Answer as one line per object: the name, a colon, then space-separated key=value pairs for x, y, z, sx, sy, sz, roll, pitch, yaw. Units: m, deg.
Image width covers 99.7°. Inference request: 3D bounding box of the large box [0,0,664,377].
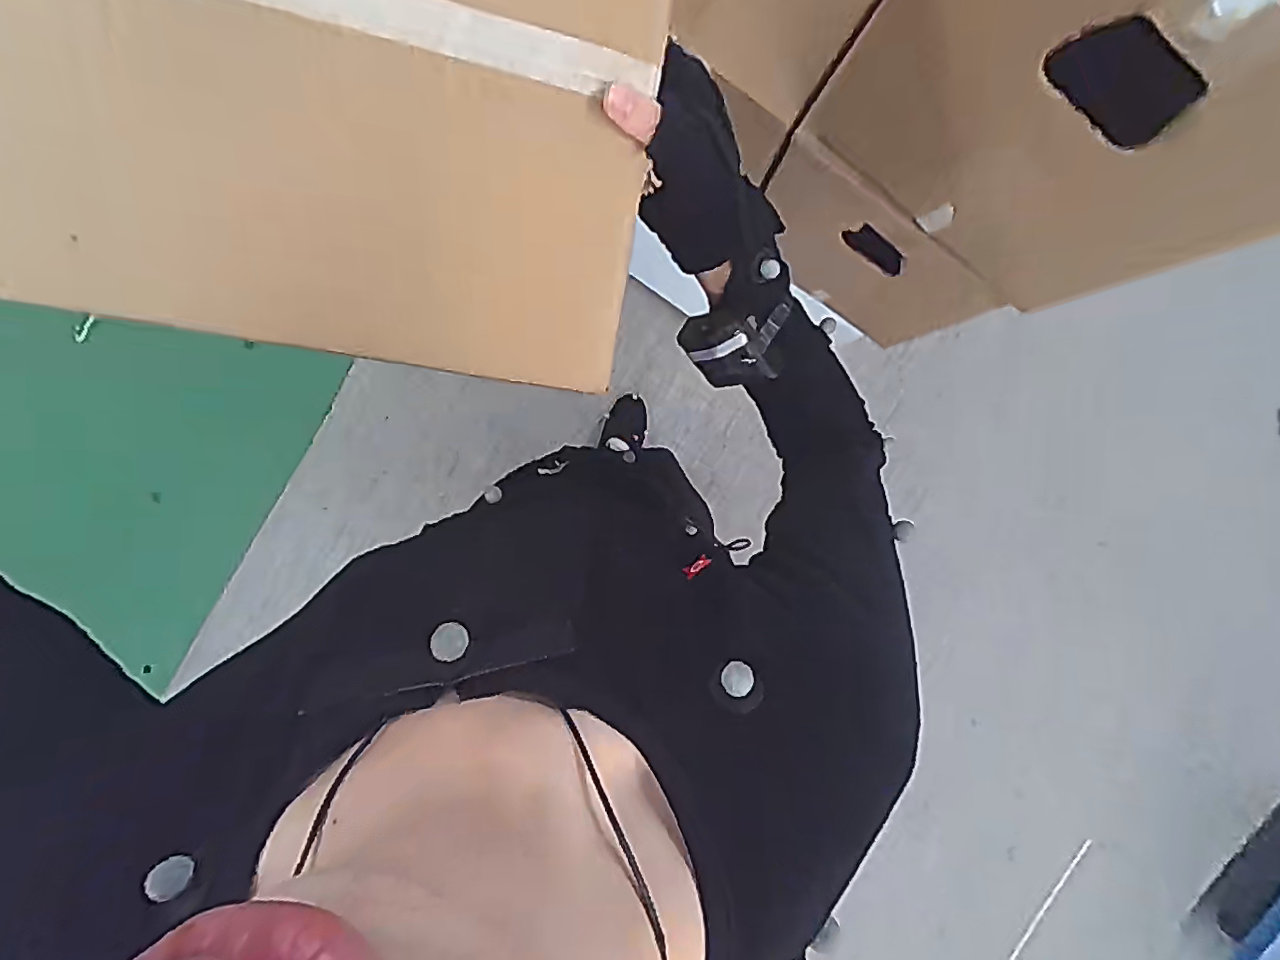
large box: x=-0.205 y=-0.274 z=0.378 sx=0.408 sy=0.320 sz=0.320 roll=9 pitch=105 yaw=-10
